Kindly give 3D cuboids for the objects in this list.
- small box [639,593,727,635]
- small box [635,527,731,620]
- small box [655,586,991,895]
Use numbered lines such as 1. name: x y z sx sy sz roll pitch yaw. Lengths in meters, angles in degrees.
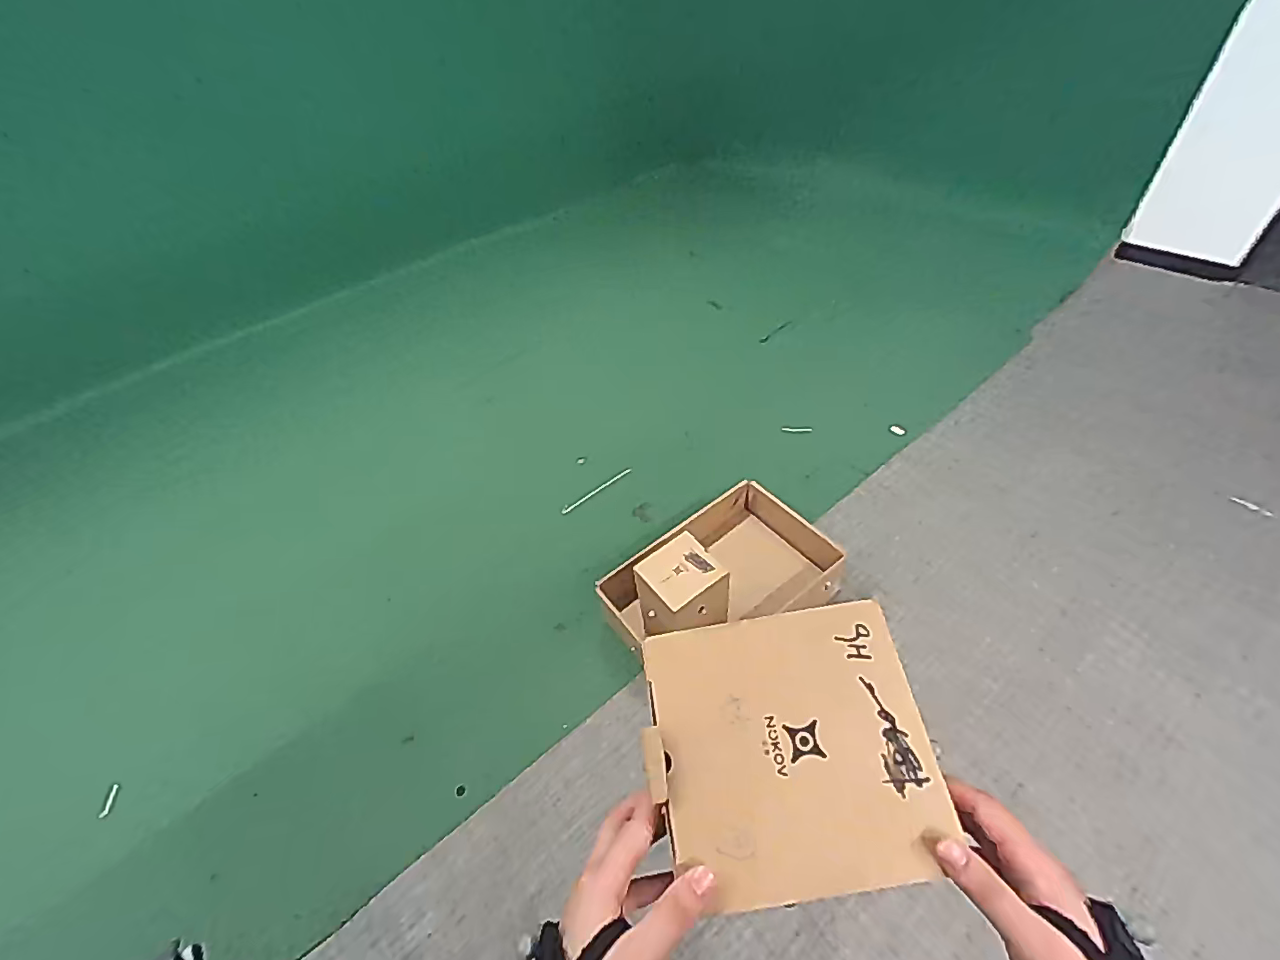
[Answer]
1. small box: 0.121 0.366 1.485 0.179 0.176 0.168 -32 52 -22
2. small box: 0.109 0.257 1.362 0.179 0.176 0.168 -32 51 -20
3. small box: 0.113 0.196 0.415 0.179 0.176 0.168 -9 61 1
